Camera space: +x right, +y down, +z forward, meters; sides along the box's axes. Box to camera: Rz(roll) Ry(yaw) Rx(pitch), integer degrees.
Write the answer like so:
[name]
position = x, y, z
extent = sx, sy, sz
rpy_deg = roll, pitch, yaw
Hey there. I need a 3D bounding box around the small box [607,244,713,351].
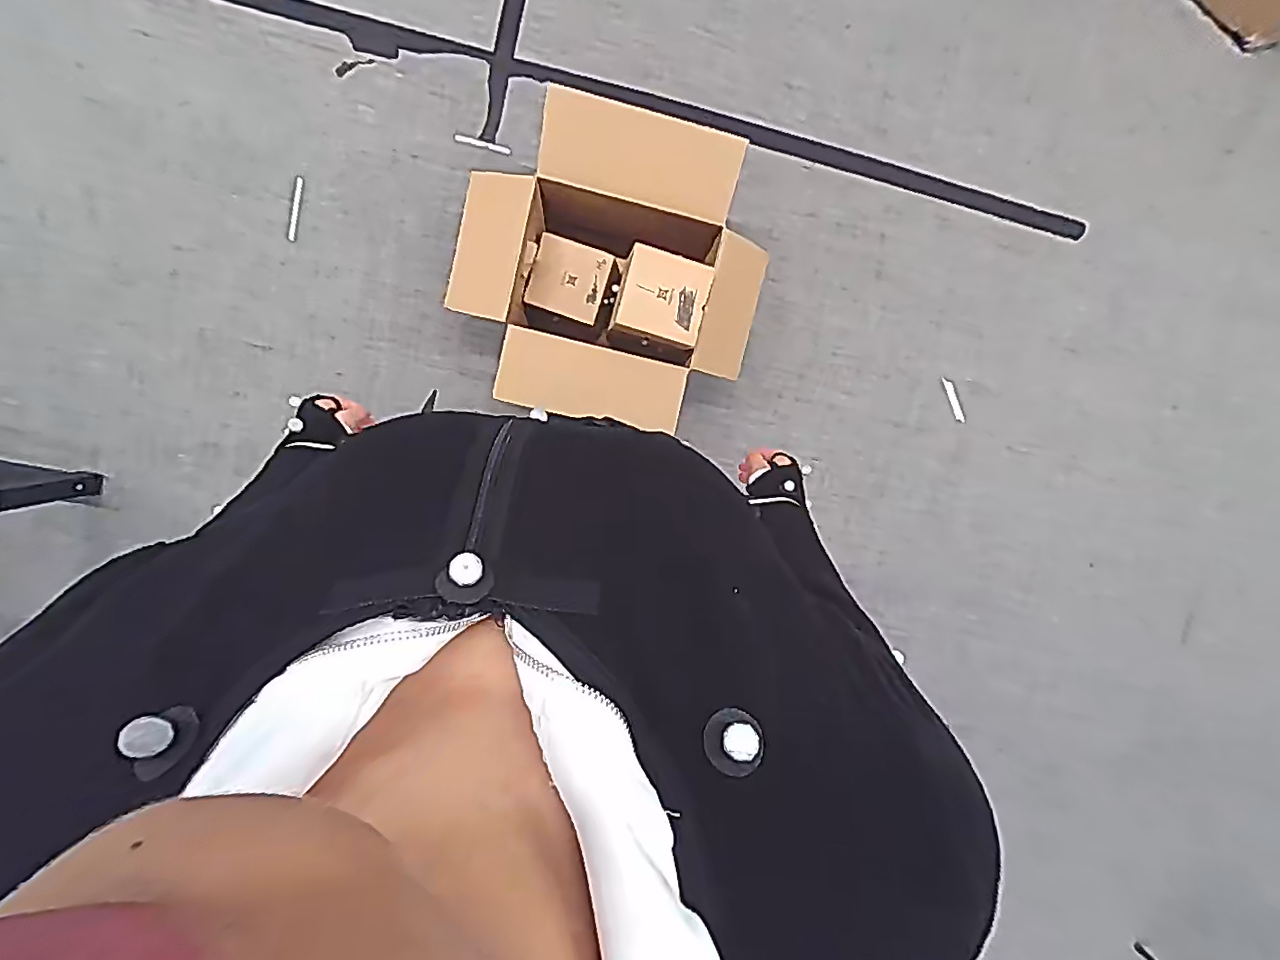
[small box]
position = 0.036, -0.387, 1.182
extent = 0.179, 0.176, 0.168
rpy_deg = 15, 96, -10
